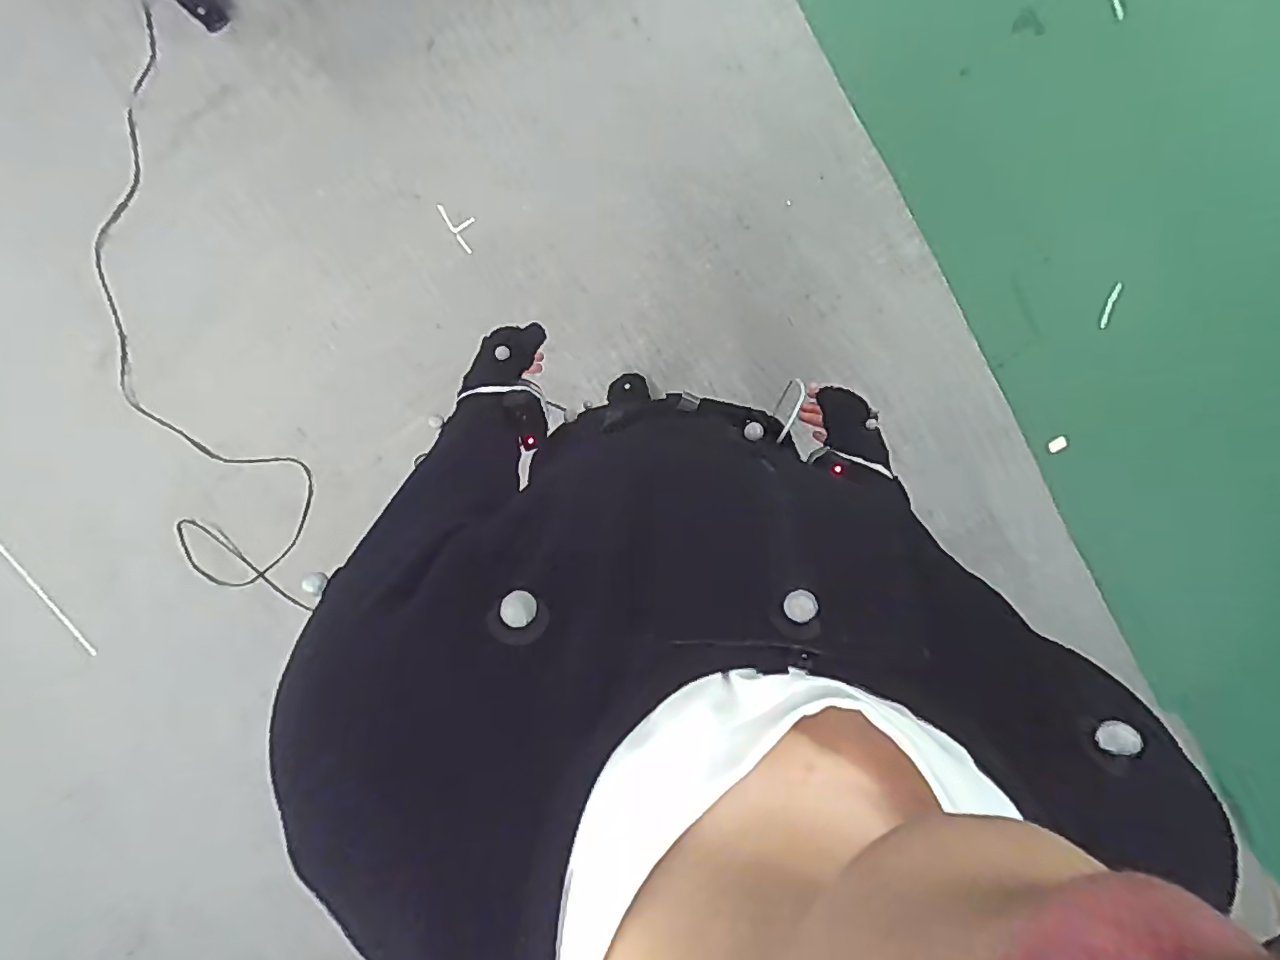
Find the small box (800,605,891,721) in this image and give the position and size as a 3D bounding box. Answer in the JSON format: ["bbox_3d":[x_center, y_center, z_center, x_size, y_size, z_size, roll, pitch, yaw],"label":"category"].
[{"bbox_3d":[0.500,0.423,1.247,0.168,0.176,0.179,-35,99,5],"label":"small box"}]

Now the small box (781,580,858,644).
[{"bbox_3d":[0.496,0.393,1.407,0.168,0.176,0.179,-34,99,4],"label":"small box"}]
